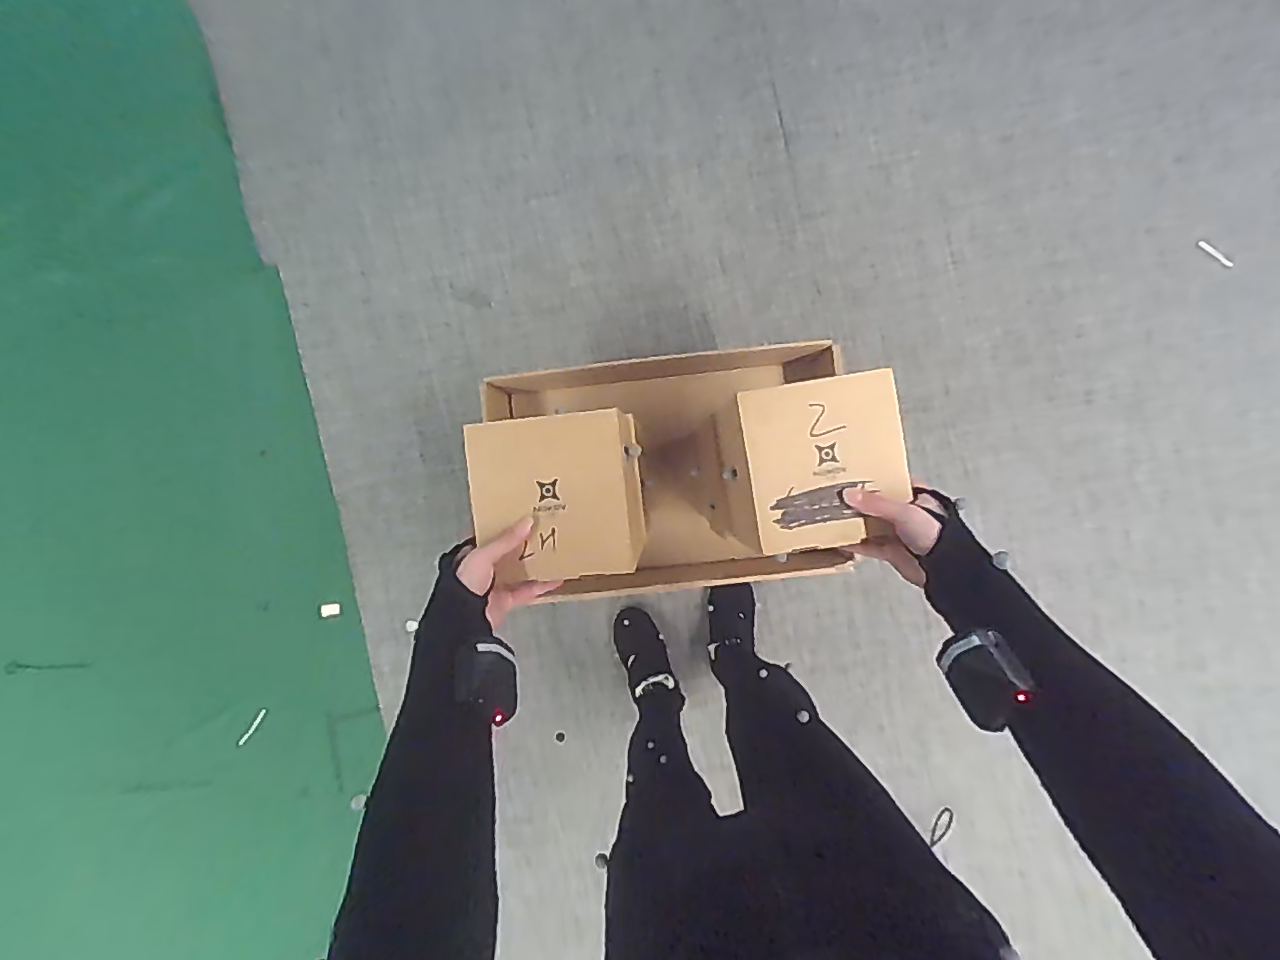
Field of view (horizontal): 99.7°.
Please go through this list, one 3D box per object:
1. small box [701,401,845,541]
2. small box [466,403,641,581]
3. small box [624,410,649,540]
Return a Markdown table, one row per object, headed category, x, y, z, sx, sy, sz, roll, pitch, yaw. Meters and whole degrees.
| category | x | y | z | sx | sy | sz | roll | pitch | yaw |
| --- | --- | --- | --- | --- | --- | --- | --- | --- | --- |
| small box | 0.184 | -0.013 | 0.790 | 0.168 | 0.176 | 0.179 | -5 | 90 | 0 |
| small box | -0.089 | 0.011 | 0.637 | 0.168 | 0.176 | 0.179 | -5 | 92 | 4 |
| small box | -0.076 | -0.002 | 0.800 | 0.168 | 0.176 | 0.179 | -6 | 92 | 3 |
